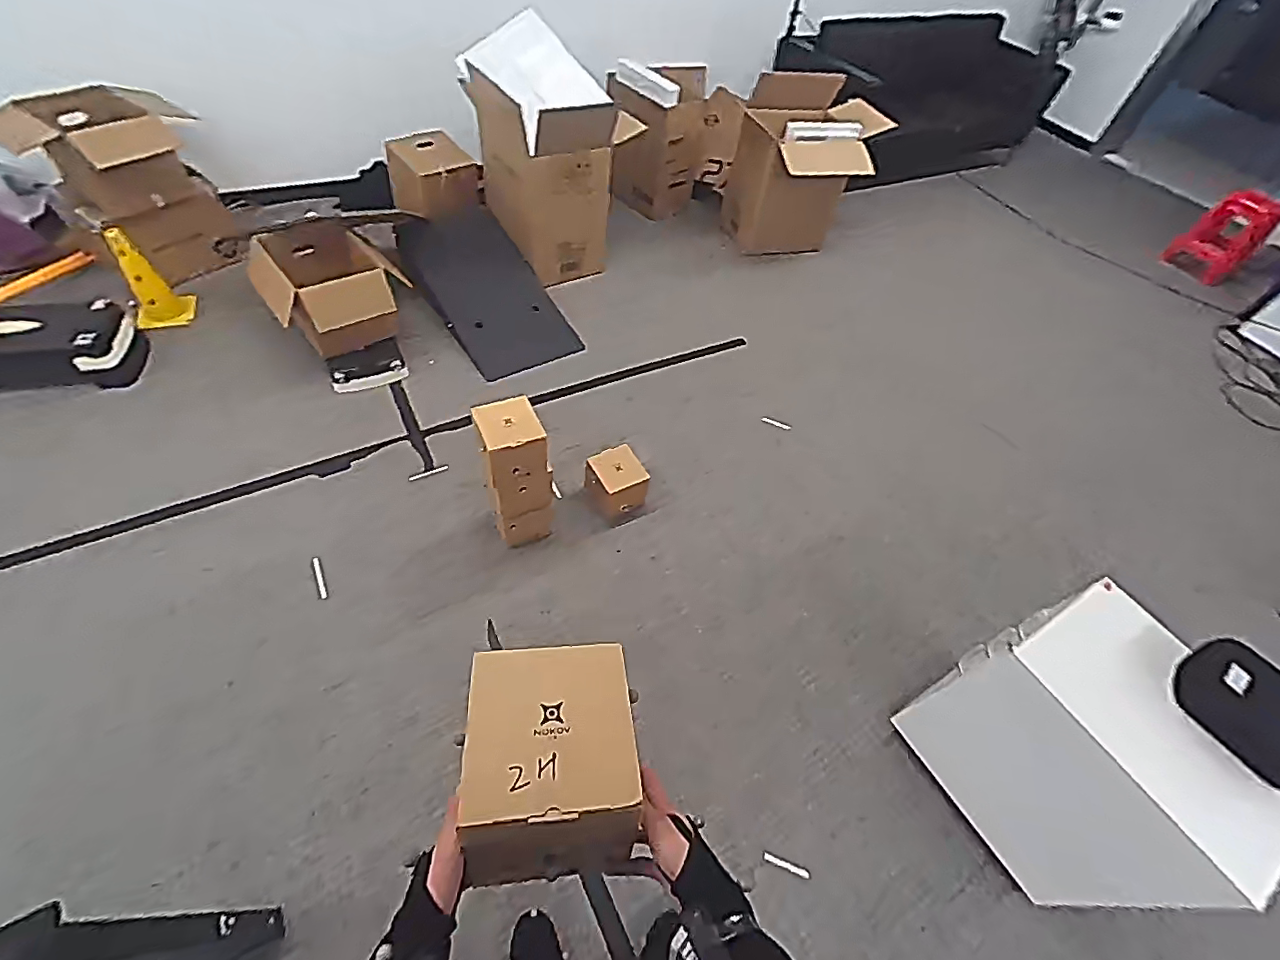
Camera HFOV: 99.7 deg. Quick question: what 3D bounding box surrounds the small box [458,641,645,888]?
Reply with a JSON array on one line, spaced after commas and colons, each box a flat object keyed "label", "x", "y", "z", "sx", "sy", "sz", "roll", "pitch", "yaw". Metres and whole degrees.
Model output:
[{"label": "small box", "x": -0.095, "y": 0.300, "z": 0.583, "sx": 0.168, "sy": 0.176, "sz": 0.179, "roll": -1, "pitch": 38, "yaw": -10}]

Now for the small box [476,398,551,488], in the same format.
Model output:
[{"label": "small box", "x": -0.367, "y": -0.106, "z": 1.570, "sx": 0.168, "sy": 0.176, "sz": 0.179, "roll": -18, "pitch": 58, "yaw": -22}]

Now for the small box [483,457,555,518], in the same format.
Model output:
[{"label": "small box", "x": -0.376, "y": -0.005, "z": 1.697, "sx": 0.179, "sy": 0.176, "sz": 0.168, "roll": -20, "pitch": 57, "yaw": -24}]

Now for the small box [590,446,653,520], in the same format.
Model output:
[{"label": "small box", "x": -0.074, "y": 0.013, "z": 1.944, "sx": 0.168, "sy": 0.176, "sz": 0.179, "roll": -23, "pitch": 60, "yaw": -22}]
